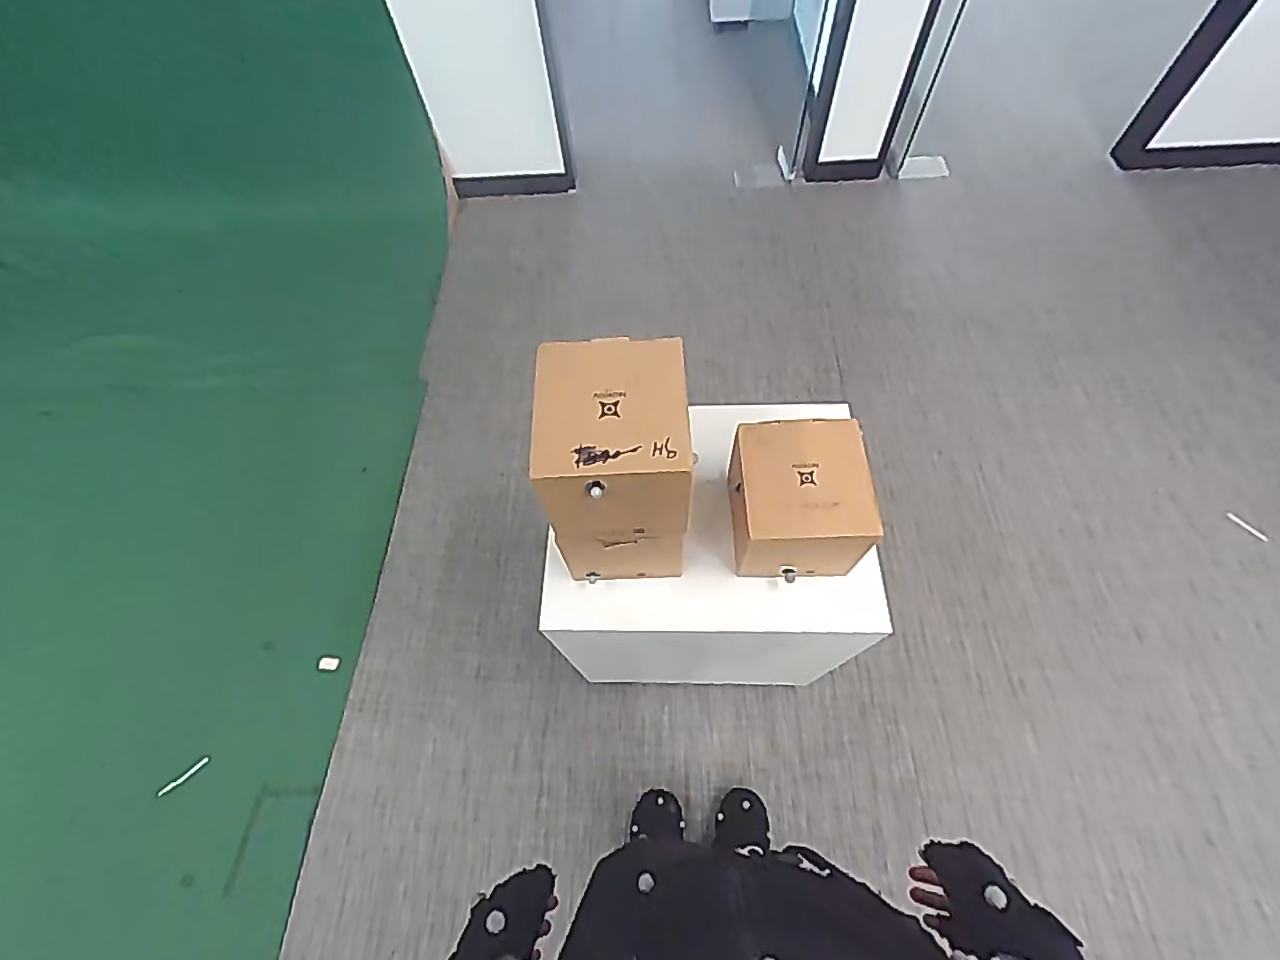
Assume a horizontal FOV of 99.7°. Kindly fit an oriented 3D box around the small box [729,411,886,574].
[{"bbox_3d":[0.220,0.023,0.765,0.168,0.176,0.179,-4,64,3],"label":"small box"}]

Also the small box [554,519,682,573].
[{"bbox_3d":[-0.025,0.032,0.791,0.168,0.176,0.179,-3,61,2],"label":"small box"}]

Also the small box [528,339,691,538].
[{"bbox_3d":[-0.029,-0.044,0.648,0.168,0.176,0.179,-3,61,2],"label":"small box"}]
